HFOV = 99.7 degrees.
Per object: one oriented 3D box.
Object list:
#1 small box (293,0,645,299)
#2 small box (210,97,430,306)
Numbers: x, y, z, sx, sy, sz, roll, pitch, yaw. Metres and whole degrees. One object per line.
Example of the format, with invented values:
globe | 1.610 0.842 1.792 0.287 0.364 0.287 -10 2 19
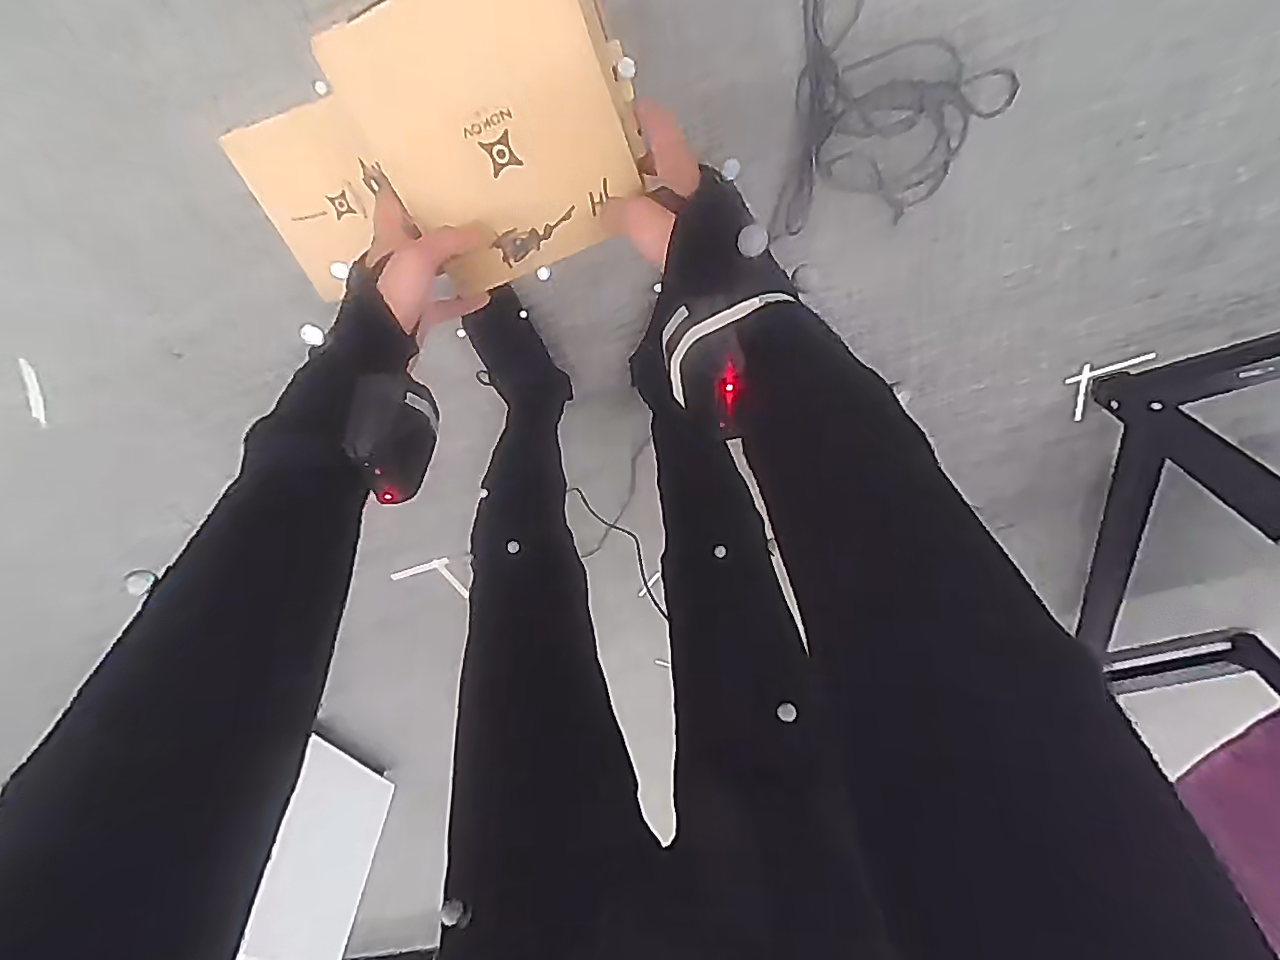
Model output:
small box | -0.102 -0.274 0.414 0.168 0.176 0.179 -17 127 14
small box | -0.292 -0.319 0.589 0.179 0.176 0.168 -12 129 11
